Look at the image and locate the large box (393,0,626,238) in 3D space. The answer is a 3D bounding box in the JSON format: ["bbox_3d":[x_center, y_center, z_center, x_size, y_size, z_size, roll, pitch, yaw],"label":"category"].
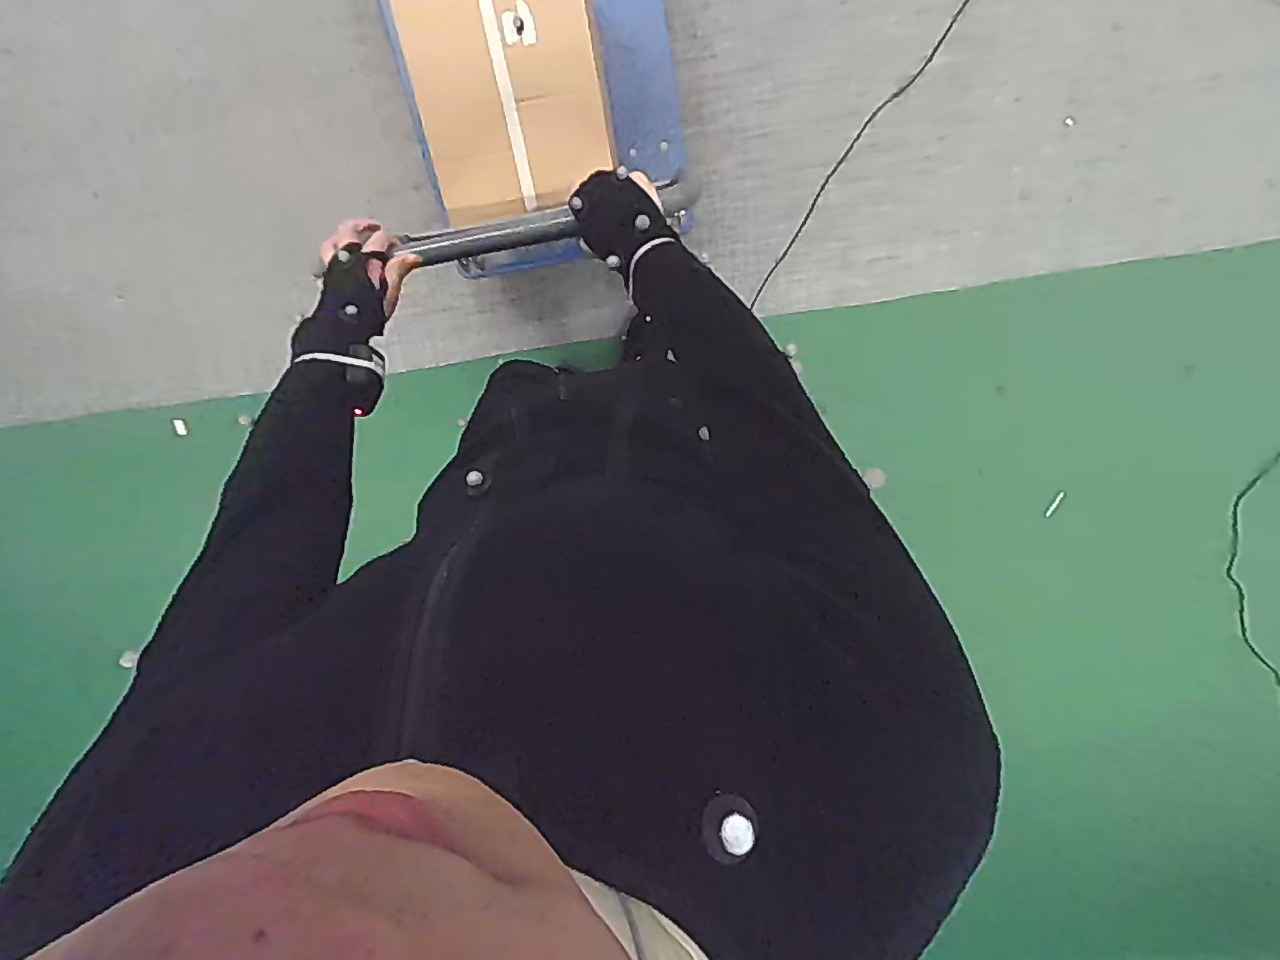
[{"bbox_3d":[-0.221,-0.727,1.058,0.320,0.320,0.408,-9,110,5],"label":"large box"}]
